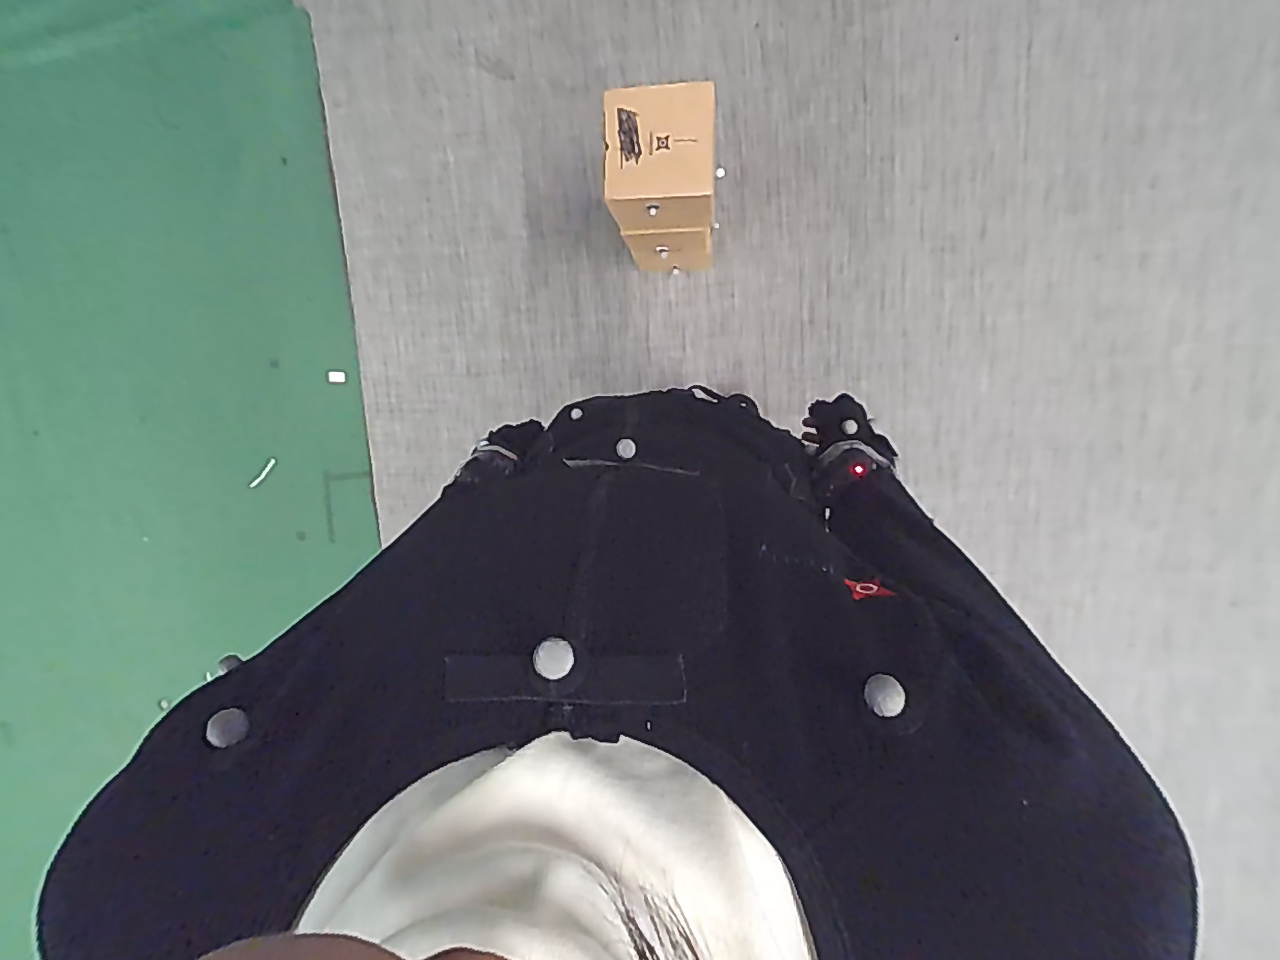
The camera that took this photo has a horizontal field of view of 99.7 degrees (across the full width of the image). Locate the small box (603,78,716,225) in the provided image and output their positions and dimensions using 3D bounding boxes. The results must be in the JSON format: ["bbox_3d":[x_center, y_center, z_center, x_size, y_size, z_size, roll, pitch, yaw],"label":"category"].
[{"bbox_3d":[0.039,-0.551,0.932,0.179,0.176,0.168,2,99,8],"label":"small box"}]

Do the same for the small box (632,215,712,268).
[{"bbox_3d":[0.079,-0.596,1.253,0.179,0.176,0.168,2,99,7],"label":"small box"}]

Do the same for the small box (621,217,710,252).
[{"bbox_3d":[0.056,-0.577,1.094,0.168,0.176,0.179,1,100,9],"label":"small box"}]
